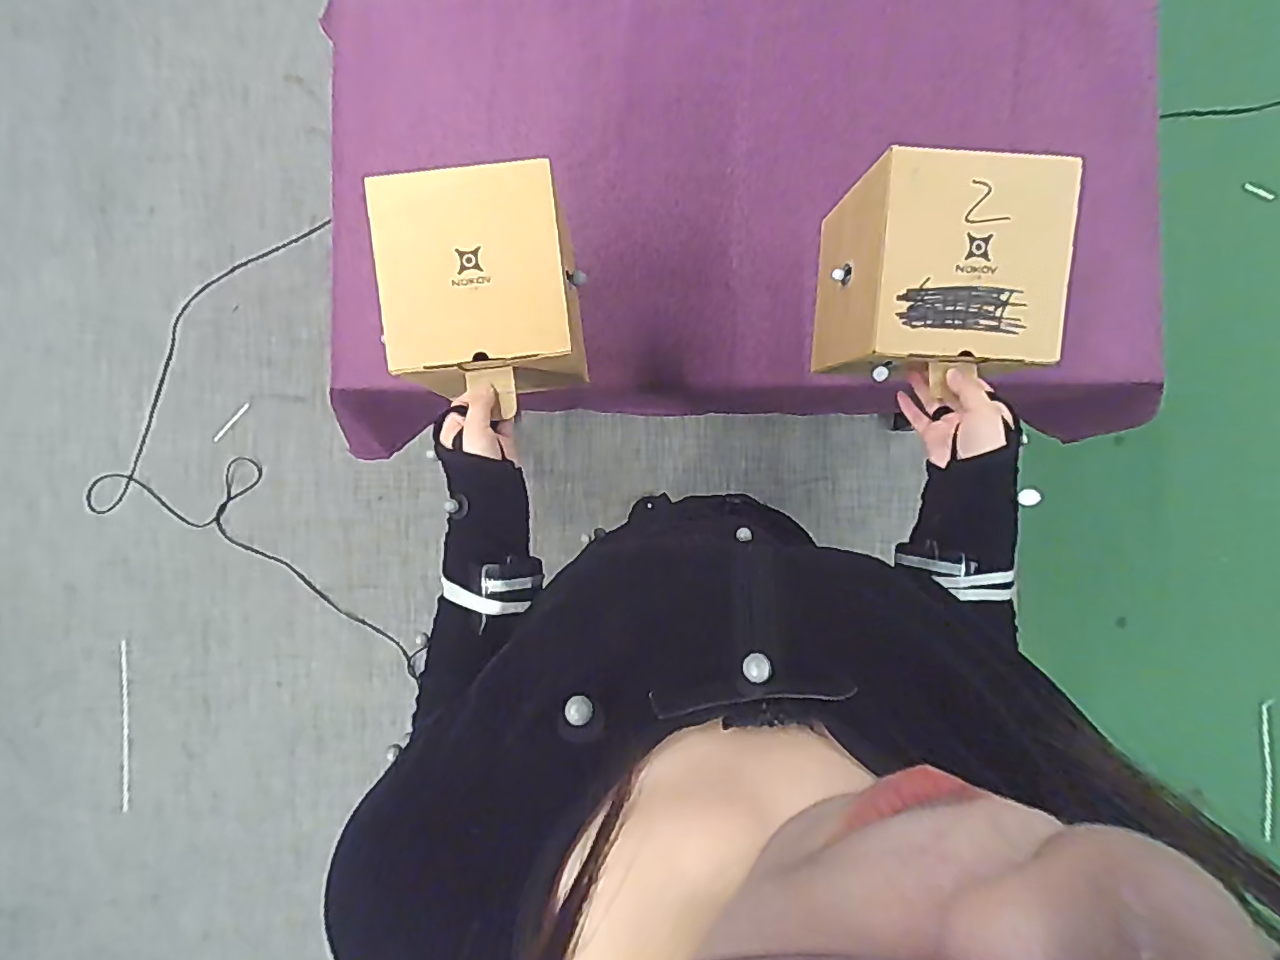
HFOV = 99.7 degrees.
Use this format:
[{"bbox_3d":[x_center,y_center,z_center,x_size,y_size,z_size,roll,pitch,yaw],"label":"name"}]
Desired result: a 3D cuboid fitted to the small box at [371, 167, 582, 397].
[{"bbox_3d":[-0.158,-0.194,0.574,0.168,0.176,0.179,-7,92,-1],"label":"small box"}]
